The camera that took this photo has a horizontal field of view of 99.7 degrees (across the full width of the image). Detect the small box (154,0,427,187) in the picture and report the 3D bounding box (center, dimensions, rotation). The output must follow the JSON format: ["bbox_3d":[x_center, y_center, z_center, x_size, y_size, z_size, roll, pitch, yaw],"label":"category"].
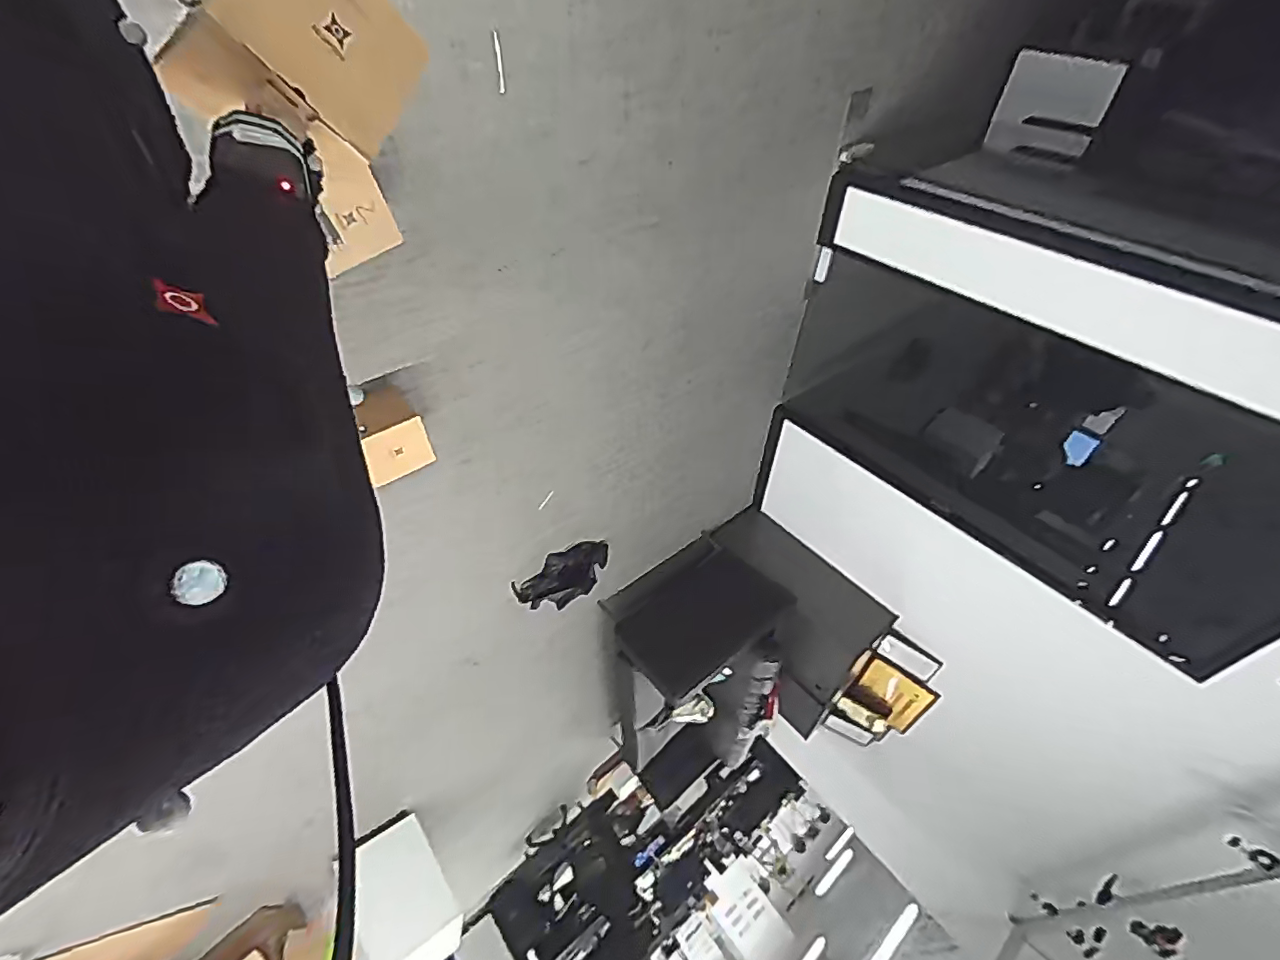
[{"bbox_3d":[-0.375,-0.455,0.584,0.168,0.176,0.179,37,63,-52],"label":"small box"}]

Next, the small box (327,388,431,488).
[{"bbox_3d":[-0.694,-0.118,1.442,0.179,0.176,0.168,-31,145,-26],"label":"small box"}]
